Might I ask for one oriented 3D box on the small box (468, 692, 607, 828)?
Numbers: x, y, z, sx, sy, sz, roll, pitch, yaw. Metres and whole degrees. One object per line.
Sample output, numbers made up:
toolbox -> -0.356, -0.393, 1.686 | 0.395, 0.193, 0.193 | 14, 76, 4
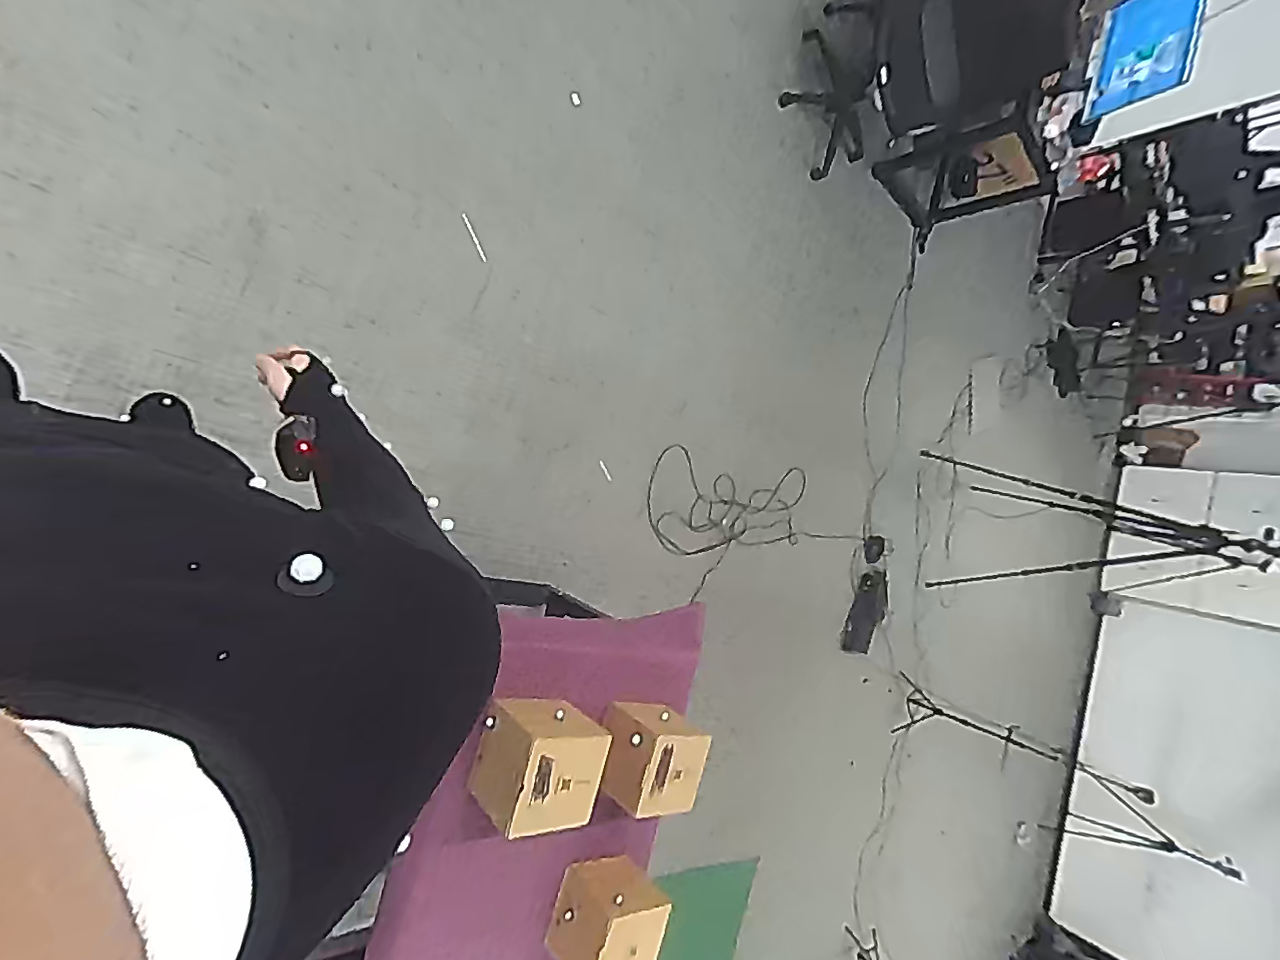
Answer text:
small box -> -0.196, 0.514, 1.018 | 0.179, 0.176, 0.168 | 21, 83, -41

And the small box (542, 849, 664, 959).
small box -> -0.082, 0.942, 1.181 | 0.179, 0.176, 0.168 | 23, 82, -39
